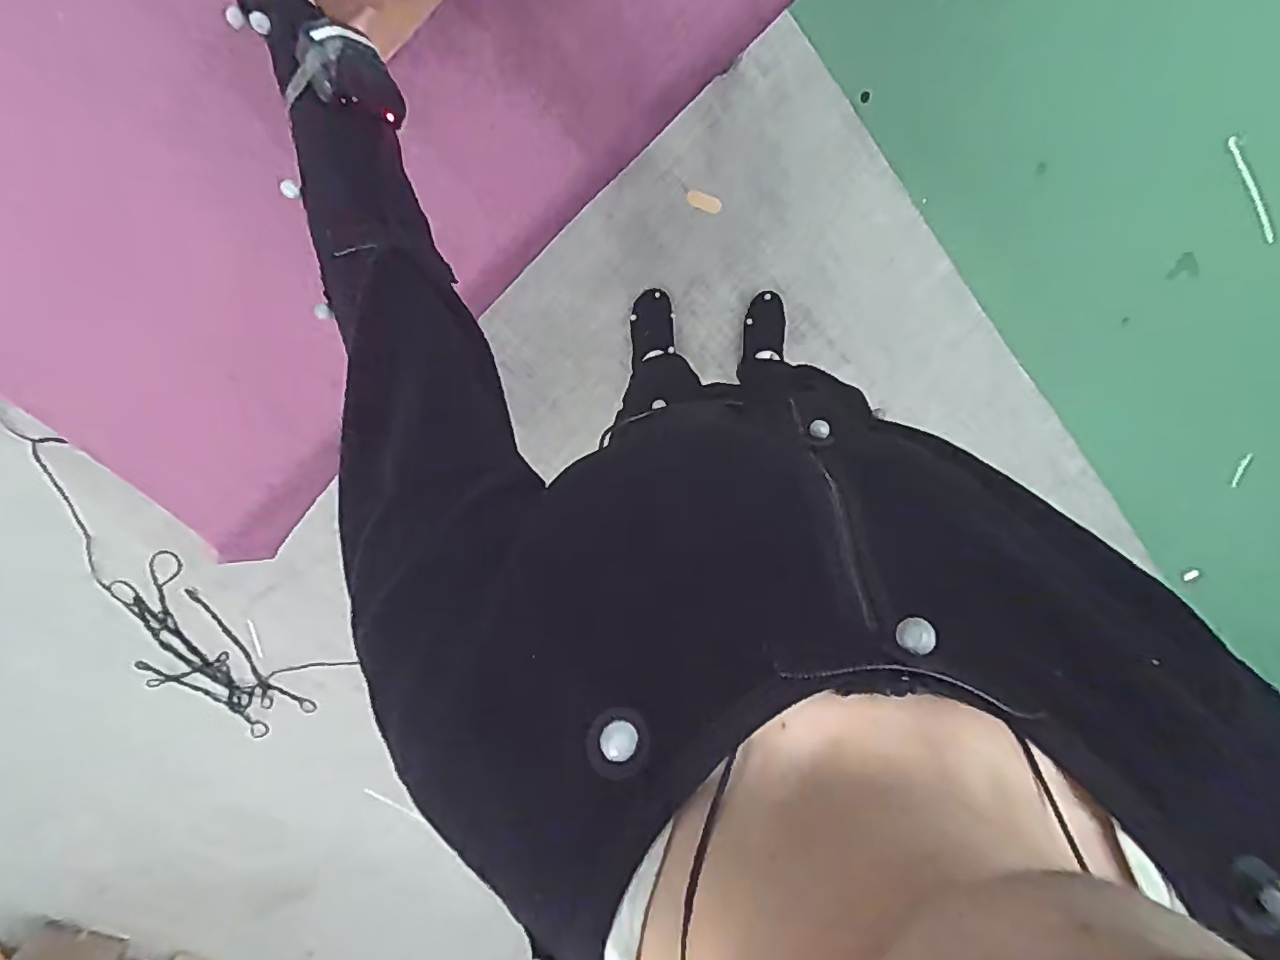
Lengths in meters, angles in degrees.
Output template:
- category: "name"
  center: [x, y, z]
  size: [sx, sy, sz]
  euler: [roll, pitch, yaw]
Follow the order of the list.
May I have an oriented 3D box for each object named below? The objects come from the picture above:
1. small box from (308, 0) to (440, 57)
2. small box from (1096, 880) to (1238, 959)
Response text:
- category: "small box"
  center: [-0.260, -0.522, 0.466]
  size: [0.179, 0.176, 0.168]
  euler: [-37, 110, 11]
- category: "small box"
  center: [1.331, 1.161, 1.367]
  size: [0.179, 0.176, 0.168]
  euler: [28, 105, -13]
